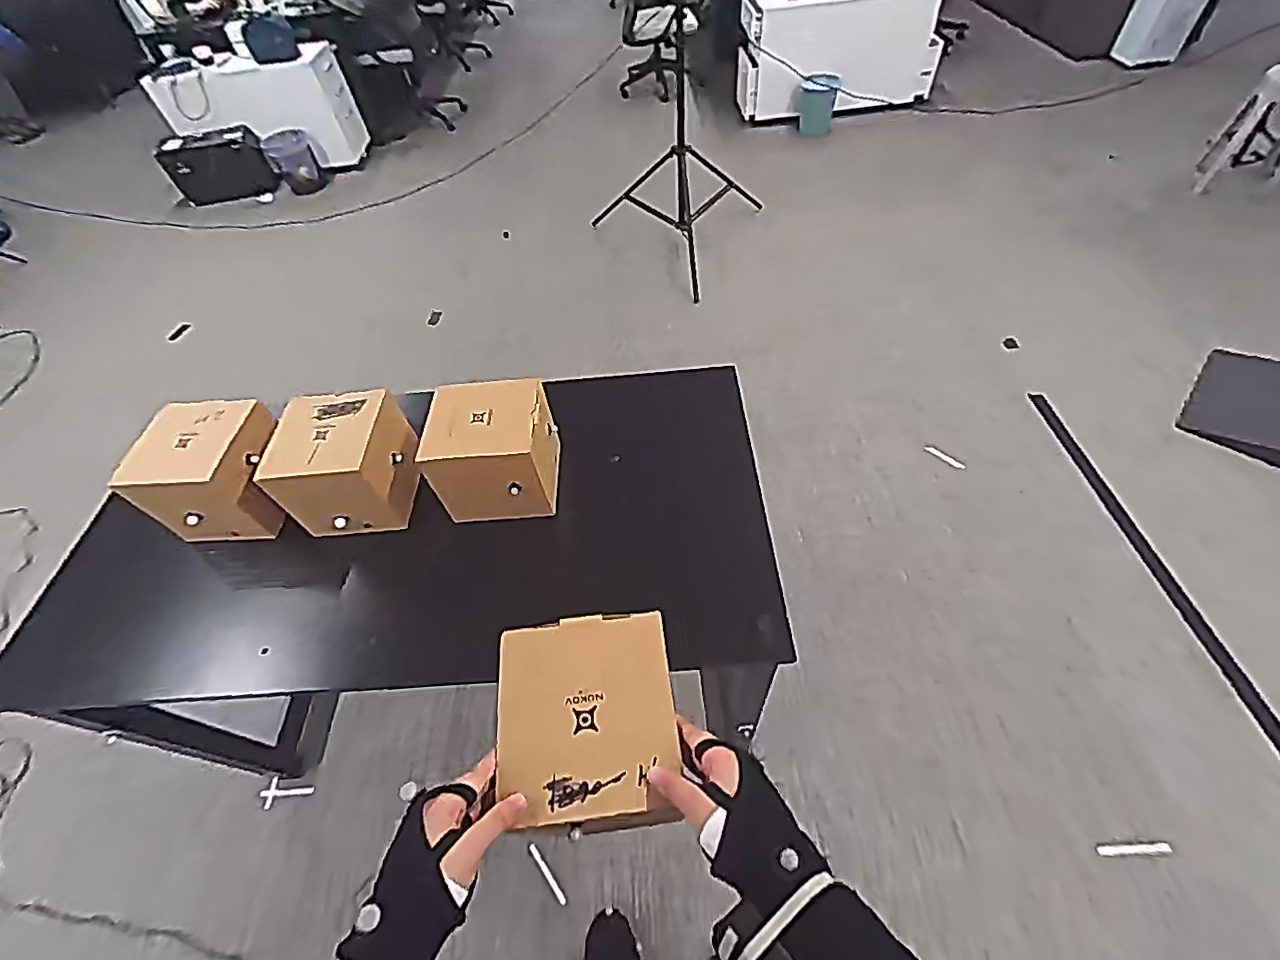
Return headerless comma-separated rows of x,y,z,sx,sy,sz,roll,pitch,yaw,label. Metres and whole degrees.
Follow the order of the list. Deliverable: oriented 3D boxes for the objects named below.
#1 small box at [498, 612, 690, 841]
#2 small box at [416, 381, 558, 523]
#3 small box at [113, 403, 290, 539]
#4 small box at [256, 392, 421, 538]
-0.044,0.262,0.569,0.168,0.176,0.179,-8,54,-1,small box
-0.240,-0.043,0.905,0.179,0.176,0.168,-5,51,3,small box
-0.711,-0.009,0.926,0.168,0.176,0.179,-2,52,3,small box
-0.488,-0.023,0.912,0.168,0.176,0.179,-5,54,1,small box
